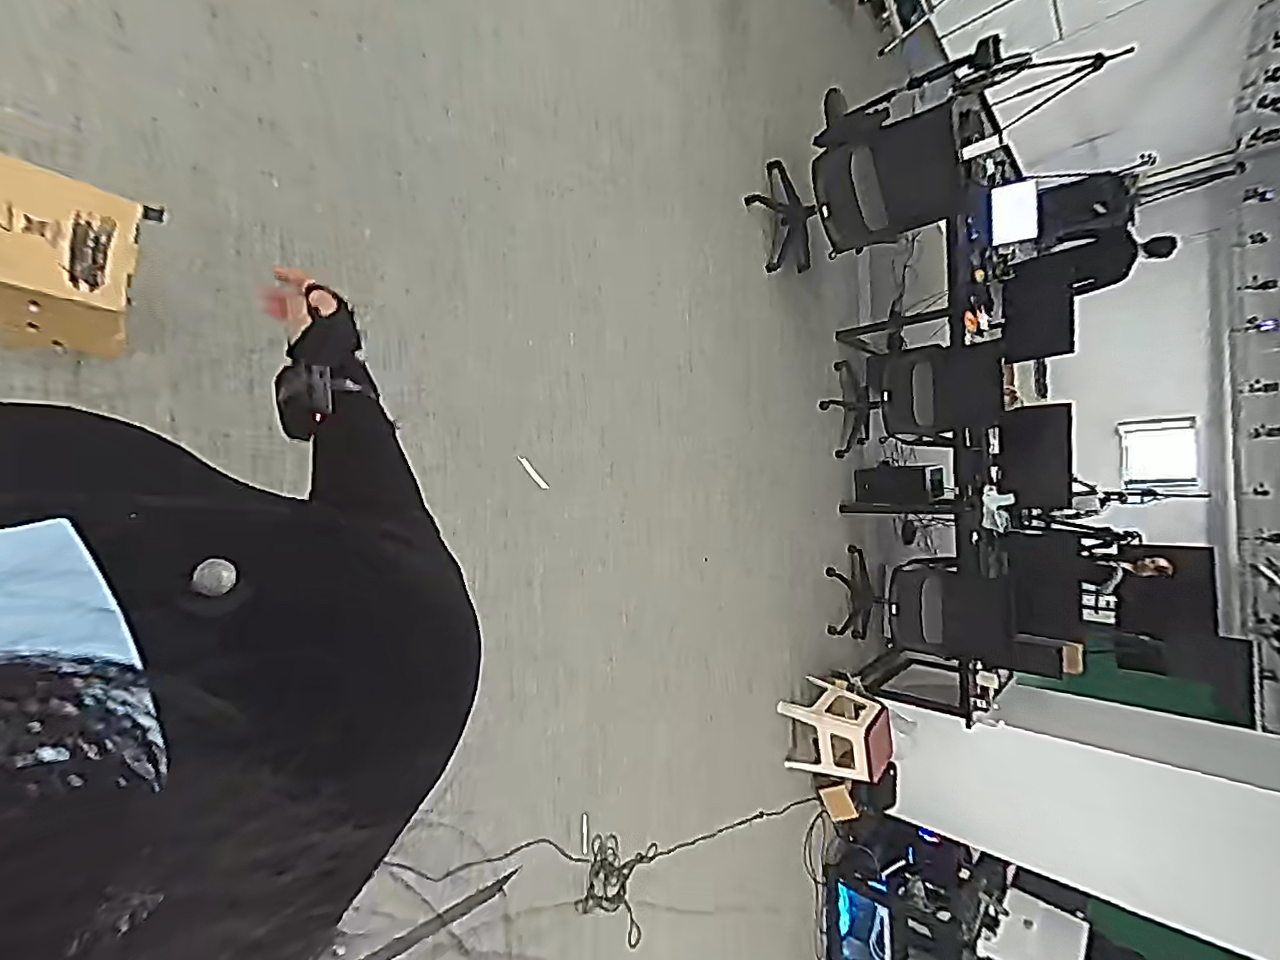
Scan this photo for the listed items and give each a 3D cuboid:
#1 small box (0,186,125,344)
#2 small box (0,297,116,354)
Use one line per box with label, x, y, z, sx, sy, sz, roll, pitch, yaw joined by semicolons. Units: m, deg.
small box;-0.963;-0.337;0.874;0.168;0.176;0.179;7;84;-46
small box;-1.077;-0.338;0.990;0.168;0.176;0.179;-2;90;-47
